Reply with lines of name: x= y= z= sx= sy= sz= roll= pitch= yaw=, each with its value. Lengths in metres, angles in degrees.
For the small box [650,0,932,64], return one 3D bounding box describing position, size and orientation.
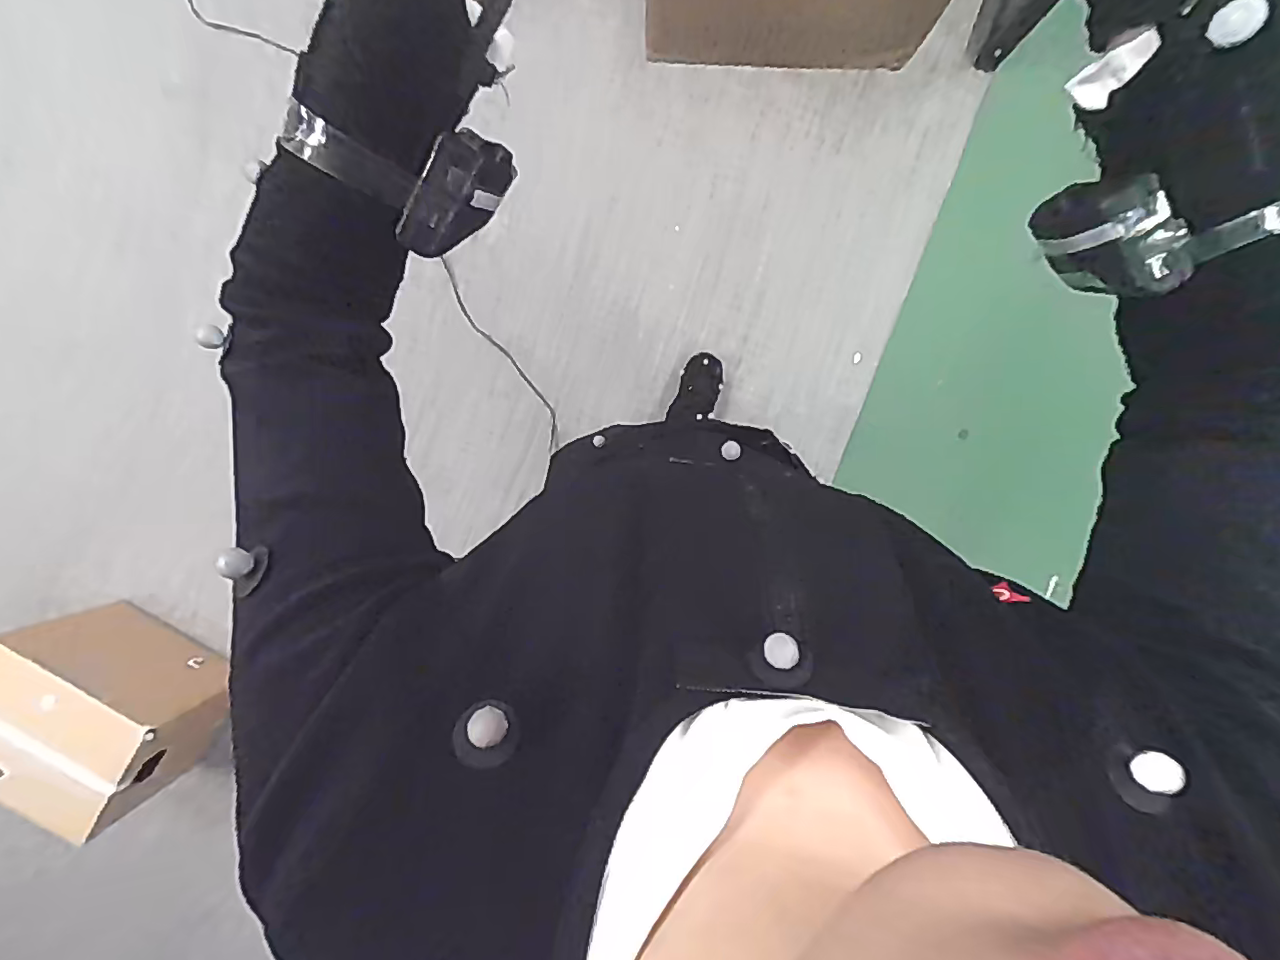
small box: x=0.095 y=-0.360 z=0.282 sx=0.179 sy=0.176 sz=0.168 roll=2 pitch=94 yaw=-1
